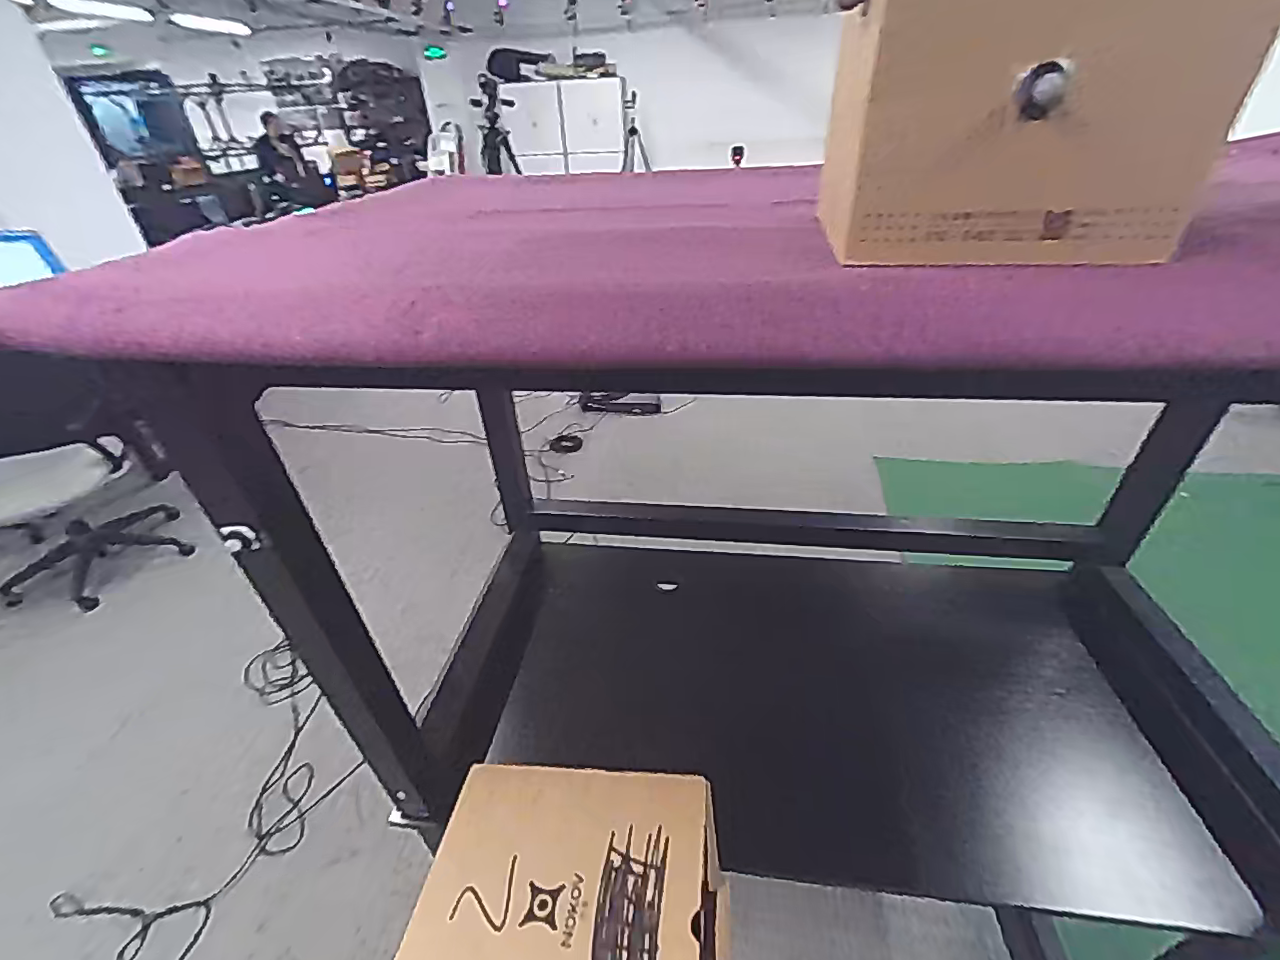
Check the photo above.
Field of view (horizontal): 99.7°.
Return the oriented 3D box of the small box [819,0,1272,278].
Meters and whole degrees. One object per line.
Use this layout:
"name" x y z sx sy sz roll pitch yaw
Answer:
"small box" 0.208 -0.226 0.322 0.168 0.176 0.179 4 36 9
